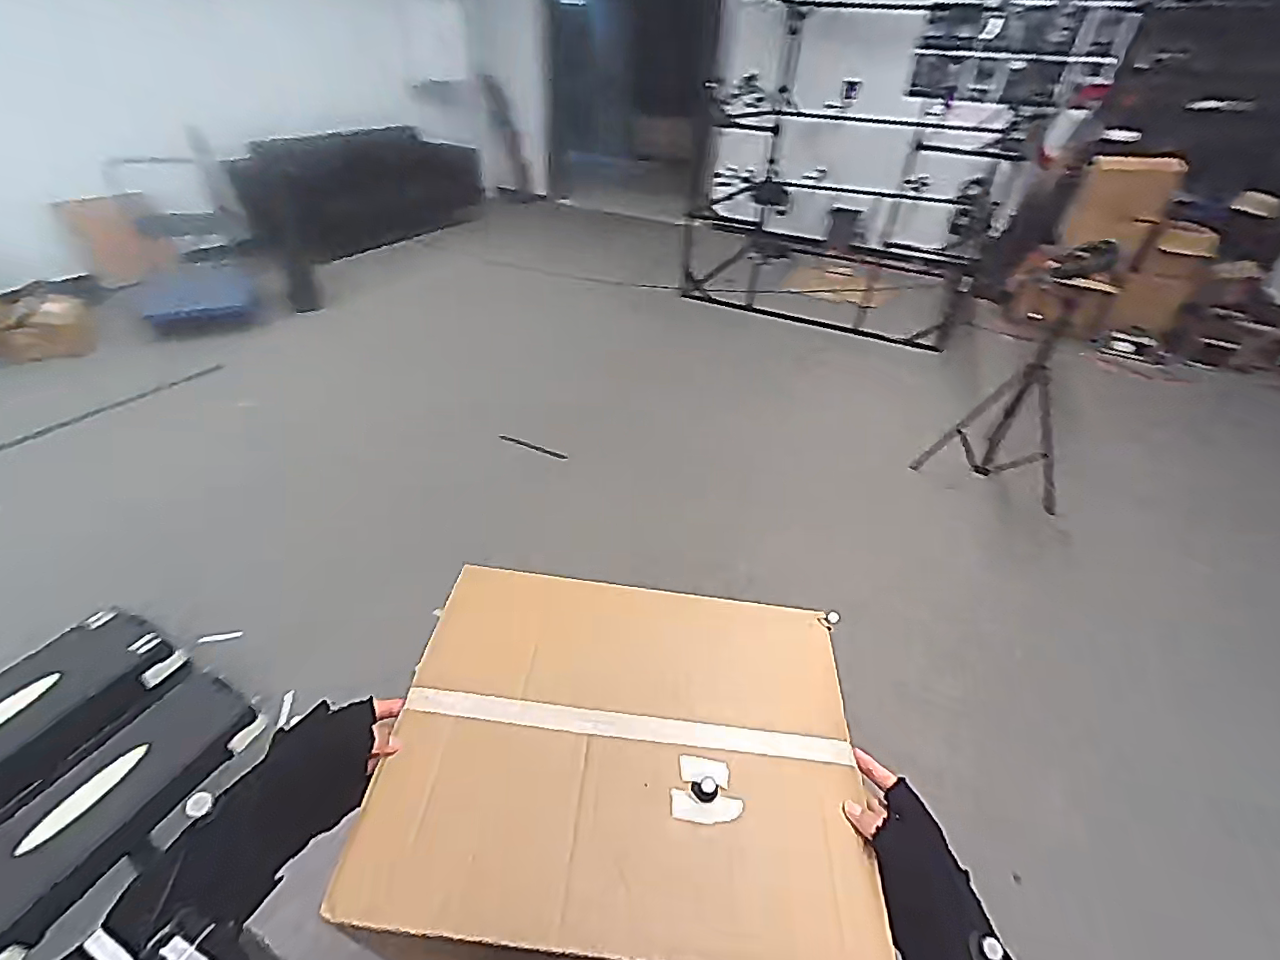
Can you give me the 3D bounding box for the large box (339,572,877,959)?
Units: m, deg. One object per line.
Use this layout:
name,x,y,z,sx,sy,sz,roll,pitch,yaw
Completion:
large box,-0.029,0.336,0.598,0.408,0.320,0.320,8,42,-1

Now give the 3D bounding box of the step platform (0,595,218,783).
step platform,-1.539,0.616,1.409,0.286,0.204,0.684,18,39,17
